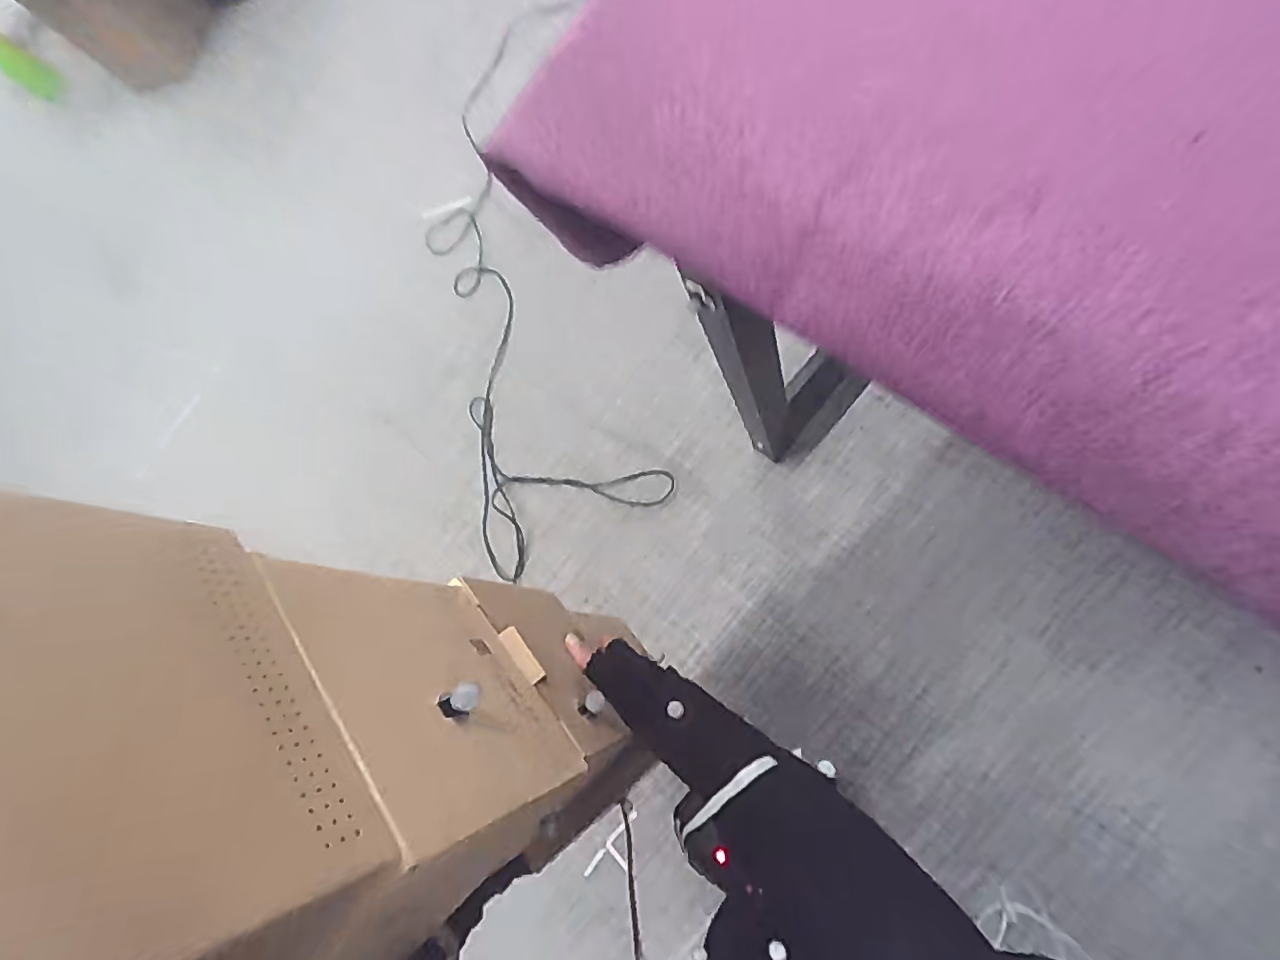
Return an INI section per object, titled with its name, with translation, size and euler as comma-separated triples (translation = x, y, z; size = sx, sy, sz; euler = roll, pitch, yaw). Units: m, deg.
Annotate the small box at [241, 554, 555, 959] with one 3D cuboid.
[small box]
translation = -0.170, 0.167, 0.304
size = 0.179, 0.176, 0.168
euler = -45, 67, 2
